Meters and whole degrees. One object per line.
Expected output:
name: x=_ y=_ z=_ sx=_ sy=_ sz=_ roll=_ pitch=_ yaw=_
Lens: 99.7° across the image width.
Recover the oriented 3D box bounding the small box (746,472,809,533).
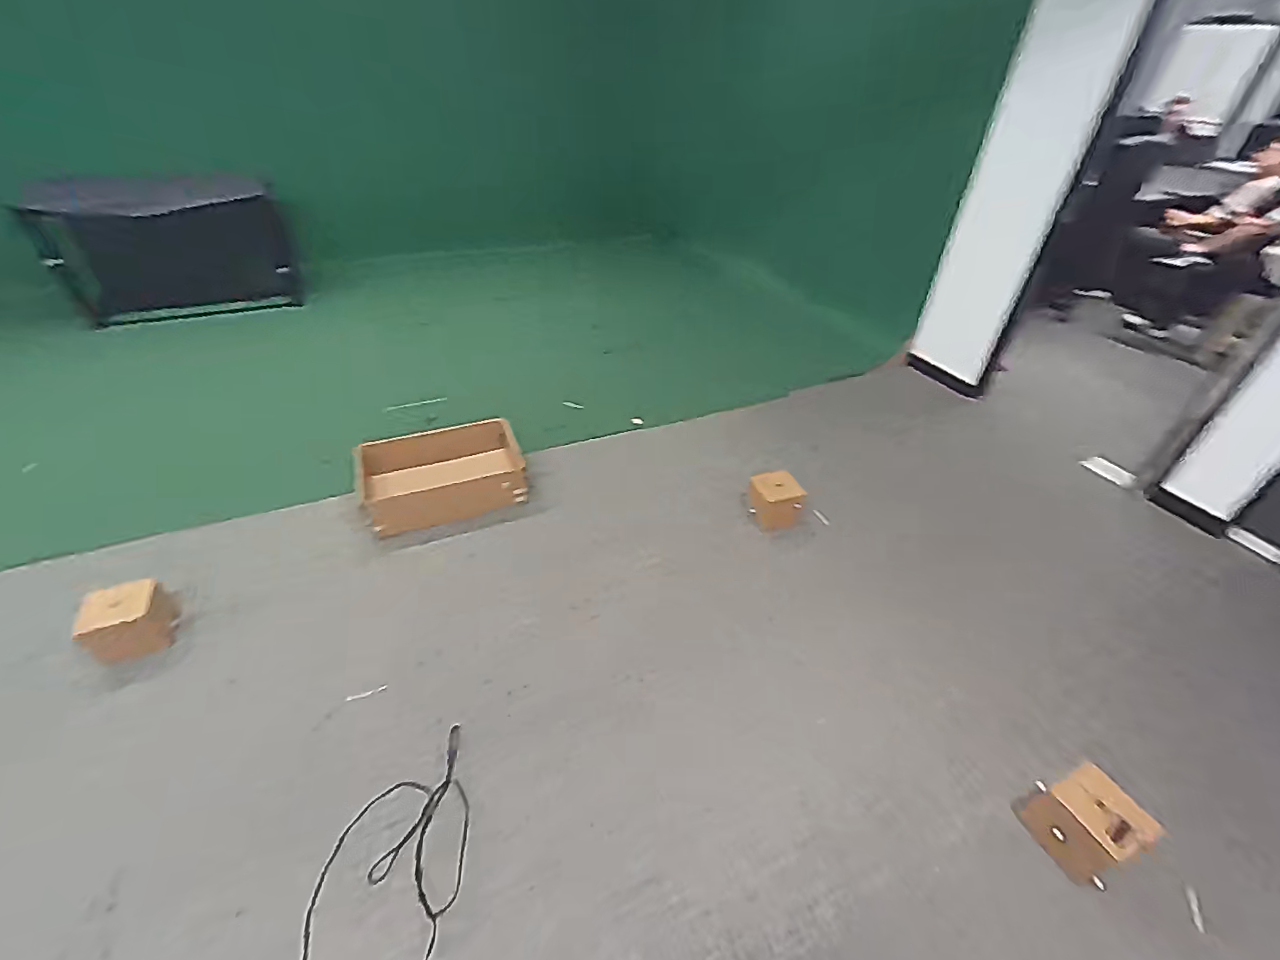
small box: x=0.551 y=0.093 z=2.192 sx=0.179 sy=0.176 sz=0.168 roll=-10 pitch=40 yaw=-15

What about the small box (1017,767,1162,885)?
small box: x=1.070 y=0.838 z=1.303 sx=0.168 sy=0.176 sz=0.179 roll=-13 pitch=41 yaw=-18

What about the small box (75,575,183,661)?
small box: x=-1.569 y=0.429 z=1.673 sx=0.179 sy=0.176 sz=0.168 roll=-14 pitch=43 yaw=-21
